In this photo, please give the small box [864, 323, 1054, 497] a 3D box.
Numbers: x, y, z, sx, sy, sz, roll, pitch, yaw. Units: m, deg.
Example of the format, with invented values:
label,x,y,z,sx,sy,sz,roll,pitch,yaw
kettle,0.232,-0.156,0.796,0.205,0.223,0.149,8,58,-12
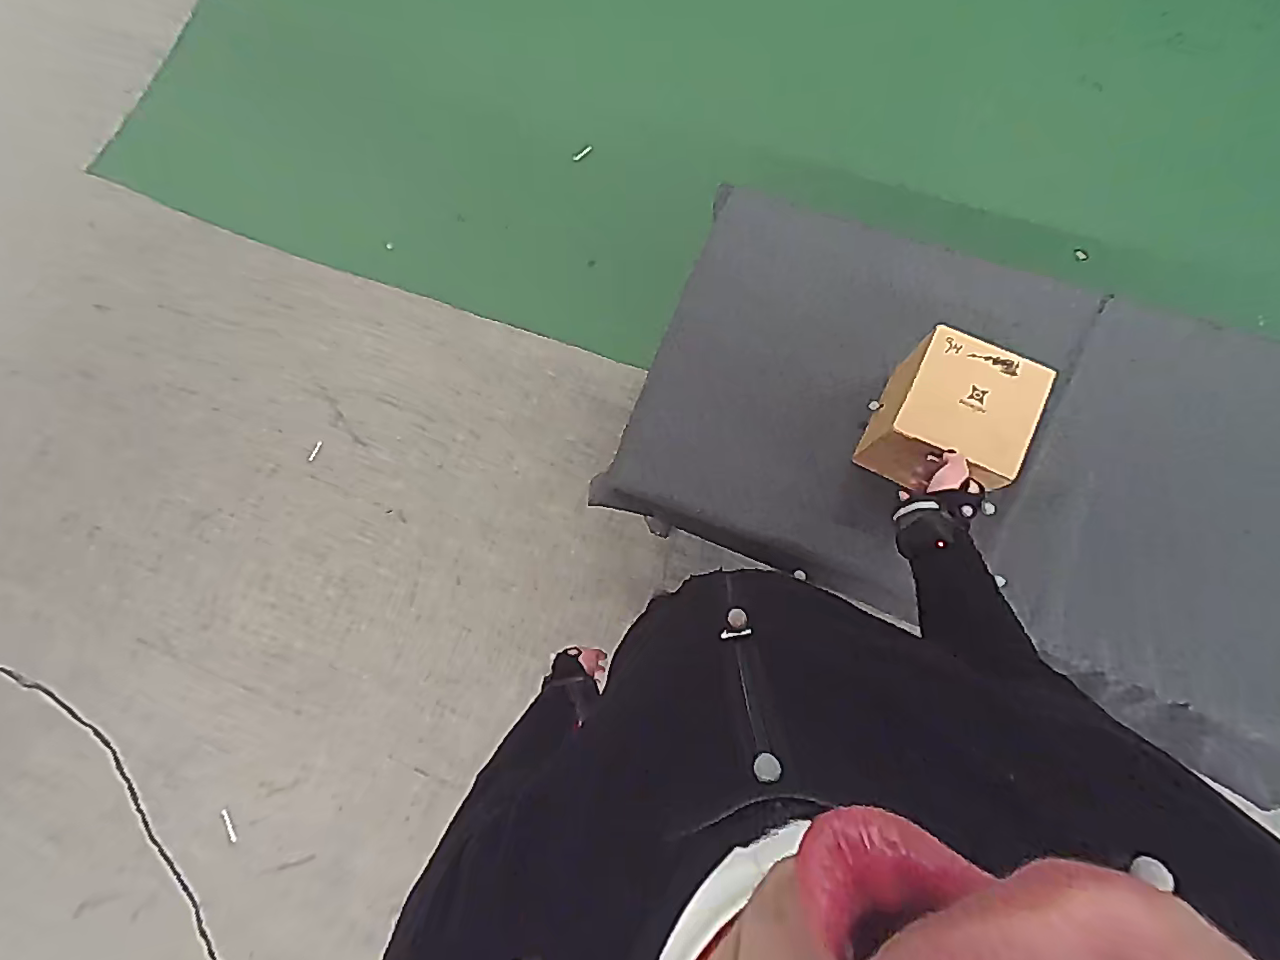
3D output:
label,x,y,z,sx,sy,sz,roll,pitch,yaw
small box,0.454,-0.093,0.801,0.168,0.176,0.179,24,79,10
